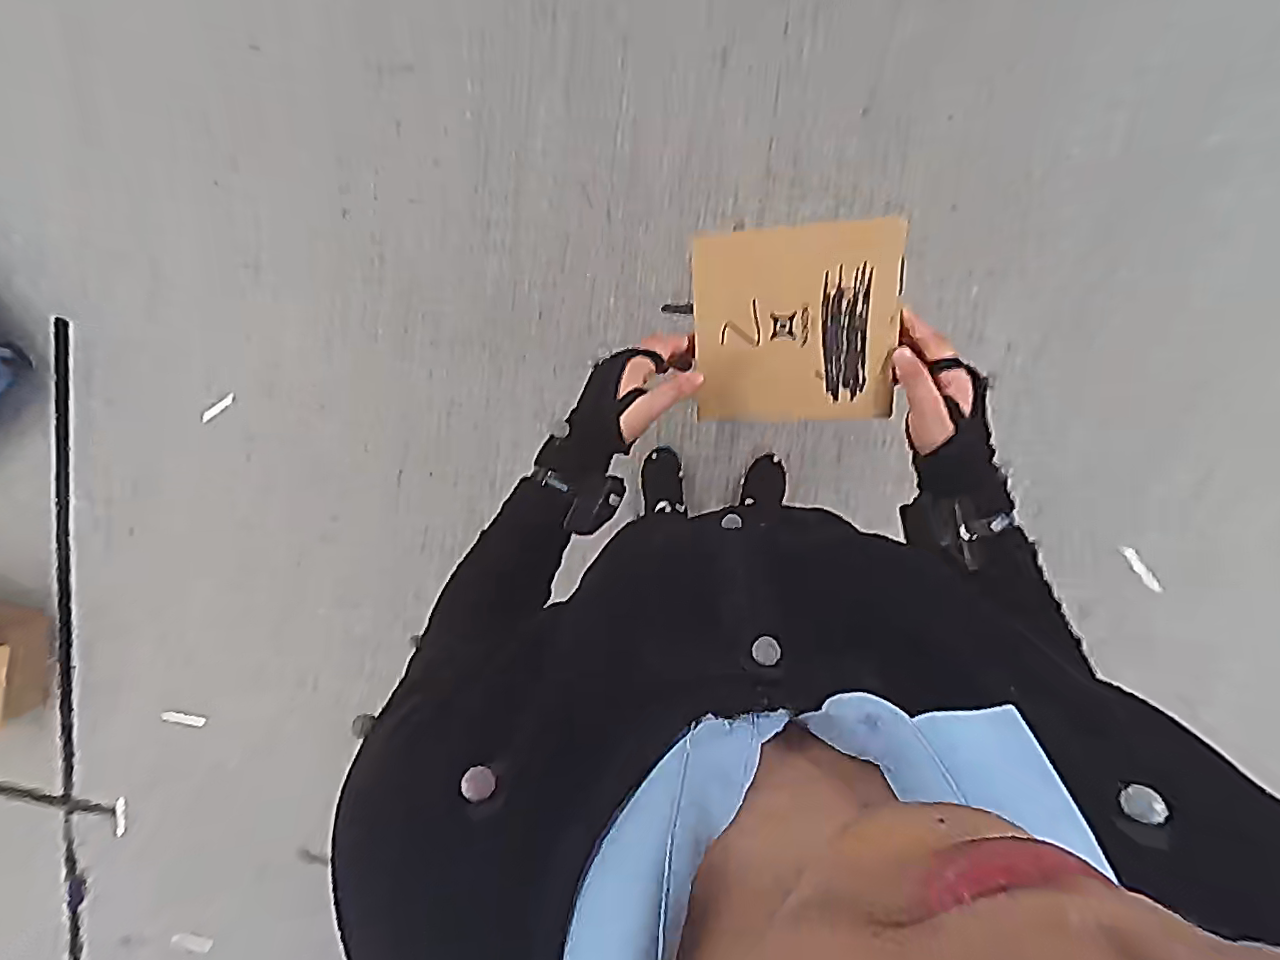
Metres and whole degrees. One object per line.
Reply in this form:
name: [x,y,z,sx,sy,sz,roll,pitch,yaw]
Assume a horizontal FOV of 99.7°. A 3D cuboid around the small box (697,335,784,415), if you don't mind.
small box: [0.219,-0.231,1.213,0.179,0.176,0.168,1,97,7]
